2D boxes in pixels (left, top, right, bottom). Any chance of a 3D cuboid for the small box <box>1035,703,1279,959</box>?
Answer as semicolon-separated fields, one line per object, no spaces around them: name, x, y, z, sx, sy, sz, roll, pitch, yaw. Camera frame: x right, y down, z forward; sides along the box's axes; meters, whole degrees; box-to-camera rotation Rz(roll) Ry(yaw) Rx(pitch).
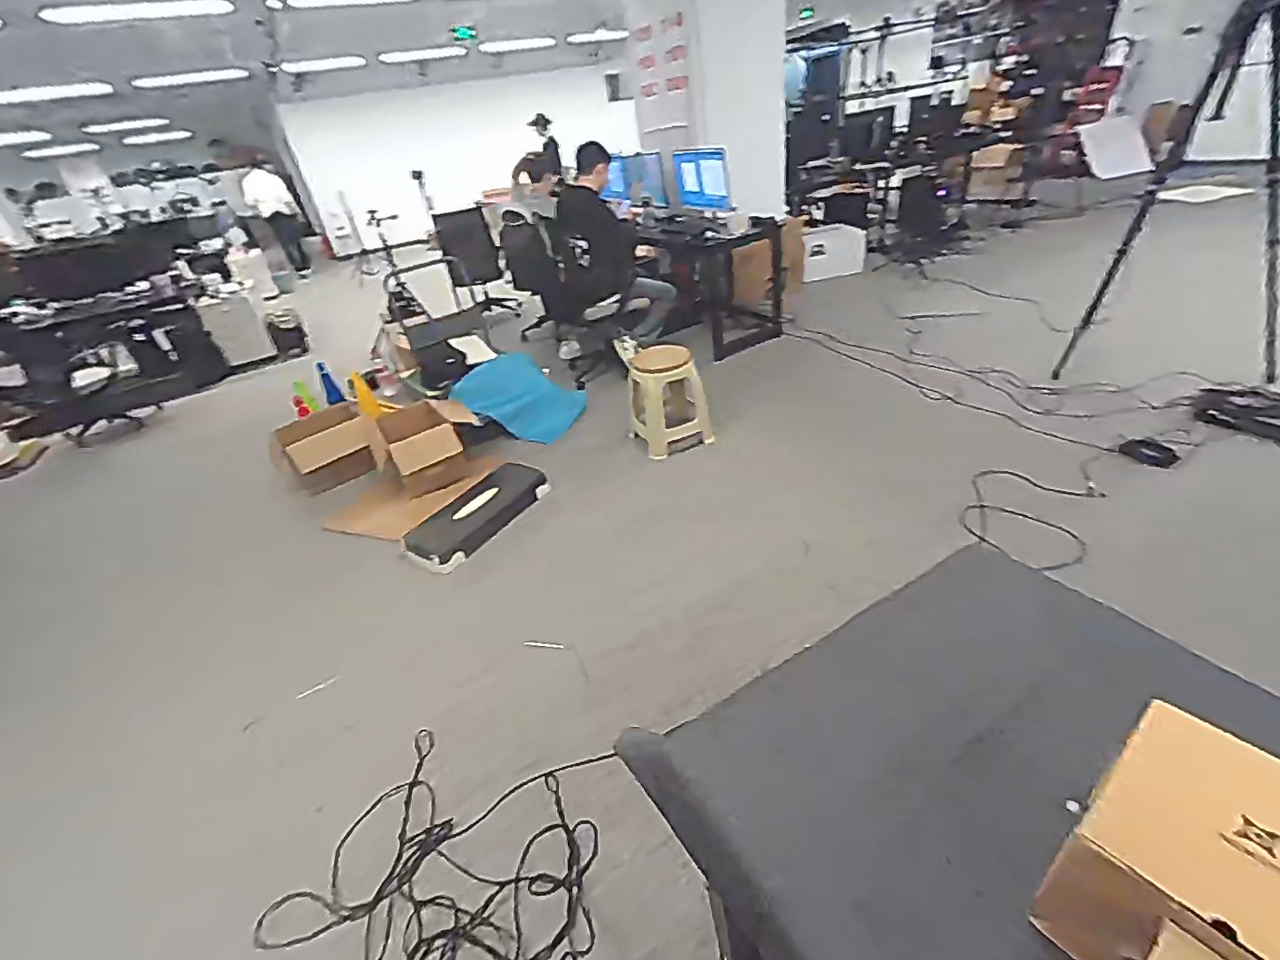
small box;0.466;0.336;0.446;0.179;0.176;0.168;-30;39;-28
